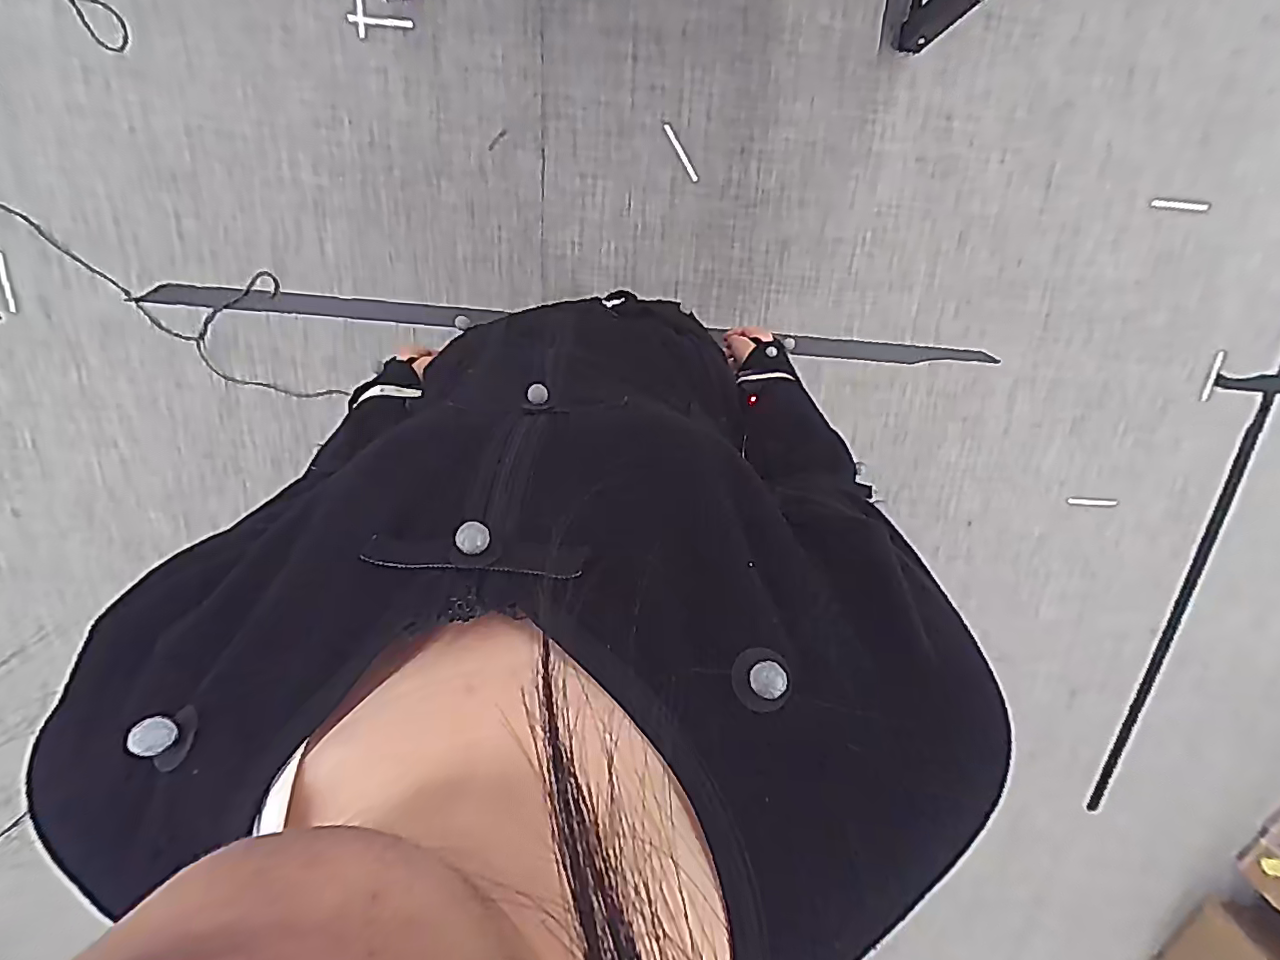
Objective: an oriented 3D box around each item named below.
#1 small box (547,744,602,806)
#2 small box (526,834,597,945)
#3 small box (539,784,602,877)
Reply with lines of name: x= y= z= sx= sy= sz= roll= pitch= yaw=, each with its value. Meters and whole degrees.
small box: x=-0.208 y=0.978 z=1.749 sx=0.168 sy=0.176 sz=0.179 roll=-1 pitch=109 yaw=-3
small box: x=-0.202 y=1.084 z=1.438 sx=0.168 sy=0.176 sz=0.179 roll=-2 pitch=108 yaw=-2
small box: x=-0.200 y=1.033 z=1.594 sx=0.168 sy=0.176 sz=0.179 roll=-2 pitch=109 yaw=-2
